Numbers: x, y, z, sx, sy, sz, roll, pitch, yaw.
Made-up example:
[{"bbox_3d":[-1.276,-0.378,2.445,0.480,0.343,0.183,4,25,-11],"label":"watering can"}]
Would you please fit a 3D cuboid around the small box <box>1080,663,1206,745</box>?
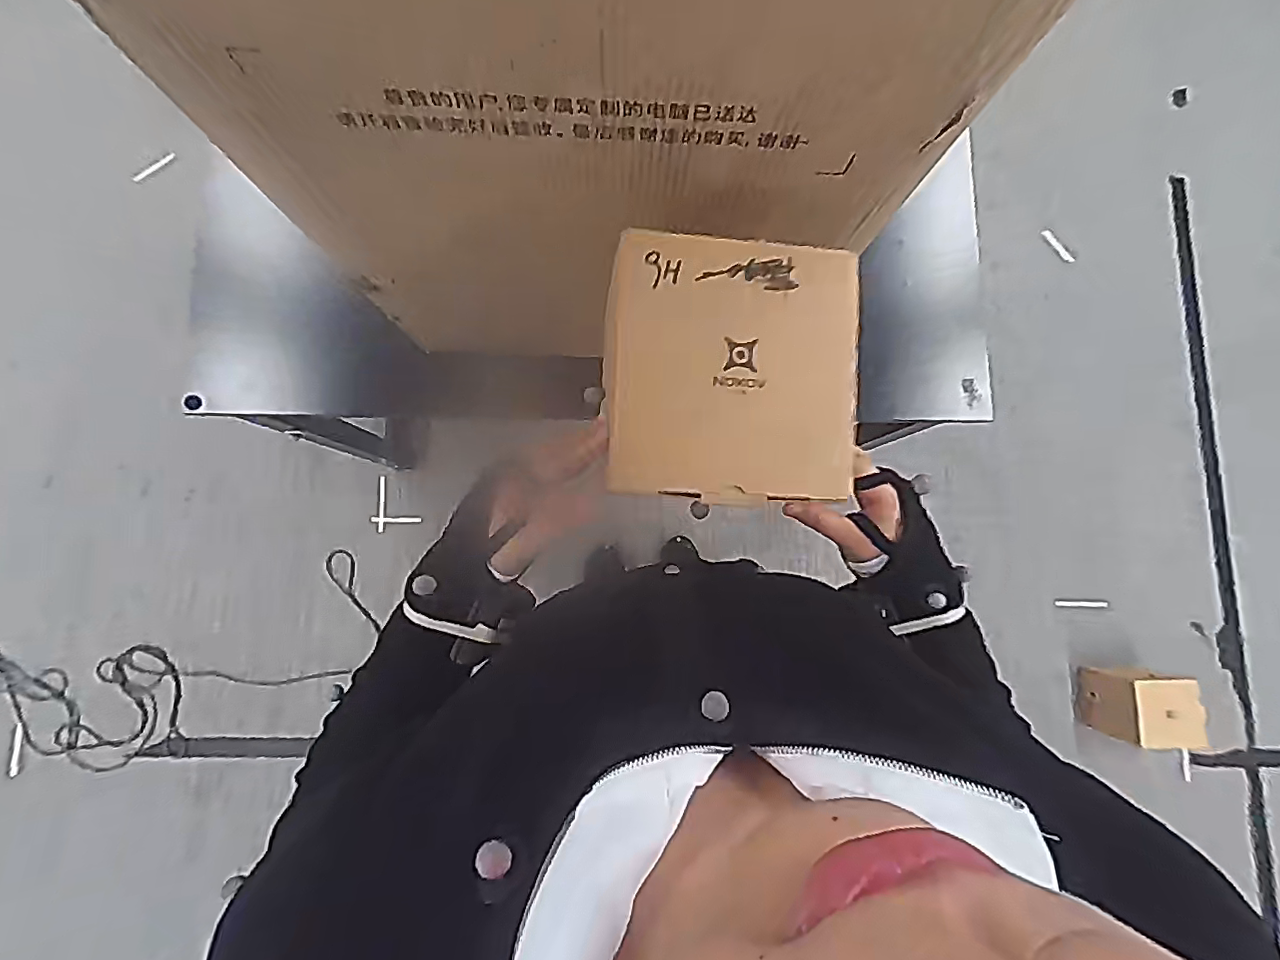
[{"bbox_3d":[1.334,0.592,1.445,0.179,0.176,0.168,-1,83,-2],"label":"small box"}]
